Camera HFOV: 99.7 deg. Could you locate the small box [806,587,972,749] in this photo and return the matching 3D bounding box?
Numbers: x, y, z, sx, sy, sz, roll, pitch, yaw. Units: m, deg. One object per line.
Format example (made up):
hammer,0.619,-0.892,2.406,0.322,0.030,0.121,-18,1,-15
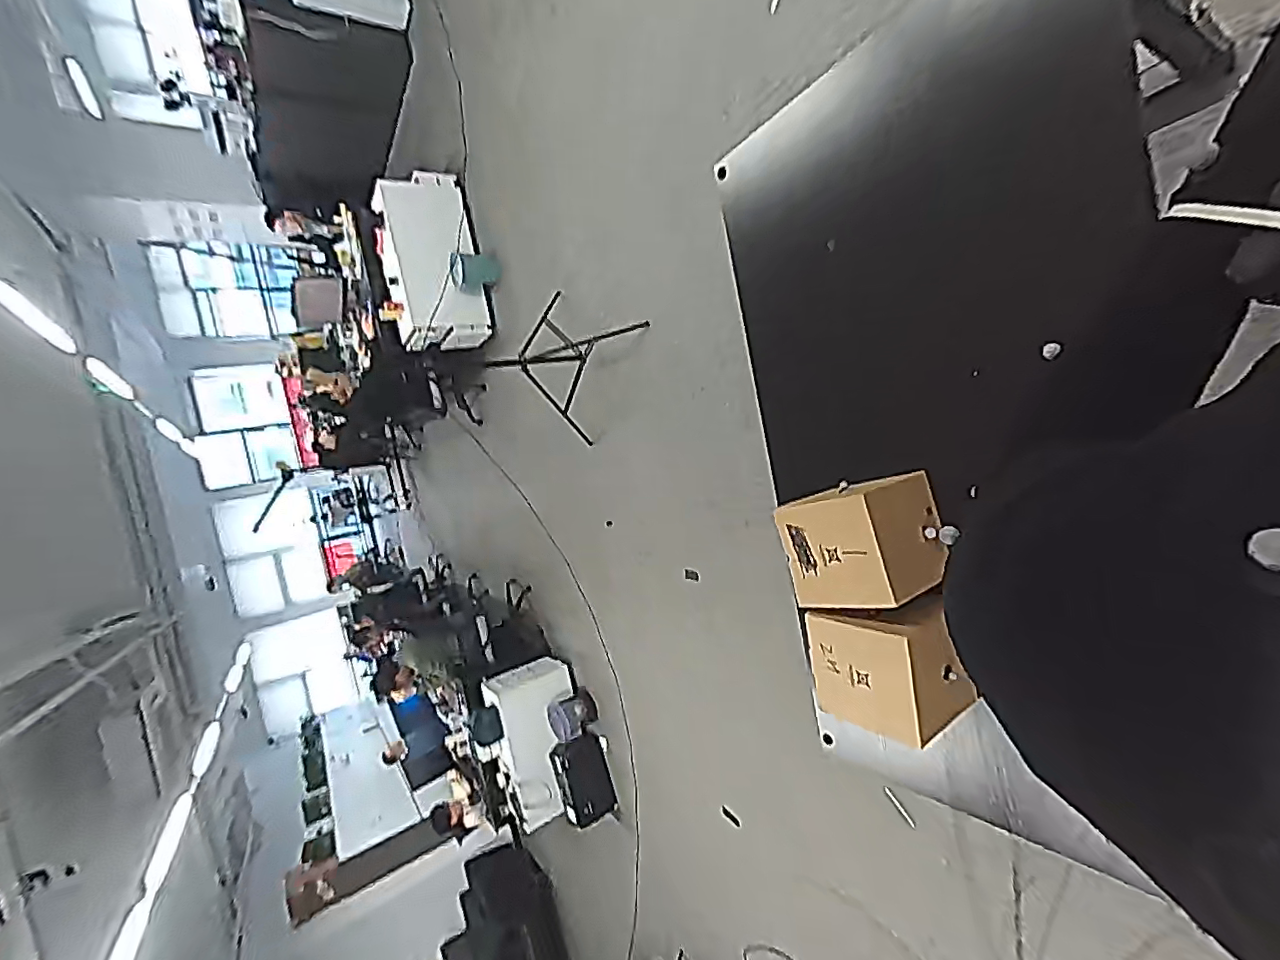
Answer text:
small box,0.393,0.277,0.847,0.179,0.176,0.168,-2,98,57
